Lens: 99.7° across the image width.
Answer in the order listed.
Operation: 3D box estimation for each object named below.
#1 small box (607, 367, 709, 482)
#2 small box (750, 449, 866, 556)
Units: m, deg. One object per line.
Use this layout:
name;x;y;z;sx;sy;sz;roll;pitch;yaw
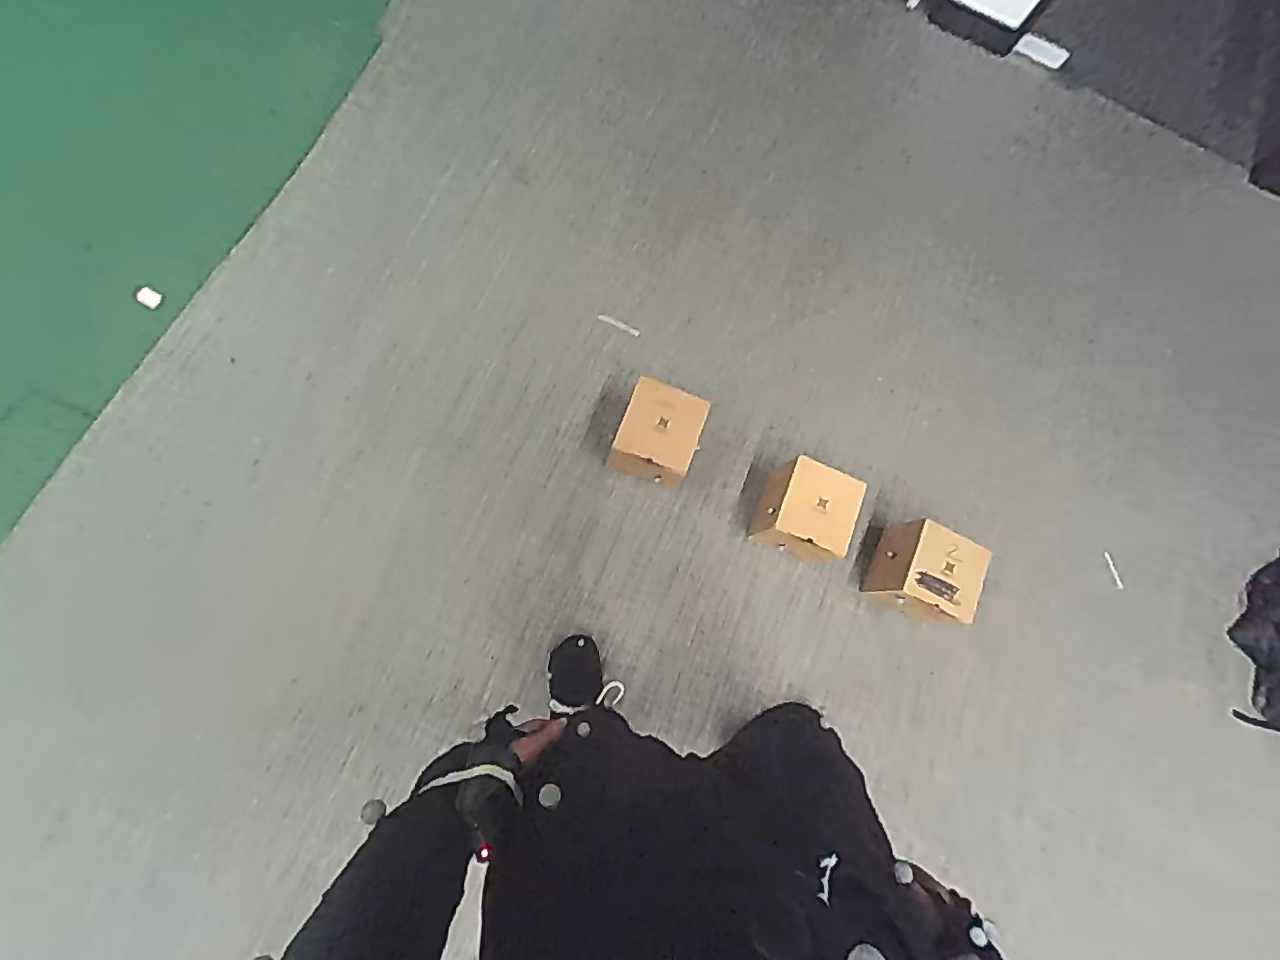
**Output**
small box;0.032;-0.113;1.193;0.168;0.176;0.179;22;75;-4
small box;0.366;0.058;1.208;0.168;0.176;0.179;24;76;-4
